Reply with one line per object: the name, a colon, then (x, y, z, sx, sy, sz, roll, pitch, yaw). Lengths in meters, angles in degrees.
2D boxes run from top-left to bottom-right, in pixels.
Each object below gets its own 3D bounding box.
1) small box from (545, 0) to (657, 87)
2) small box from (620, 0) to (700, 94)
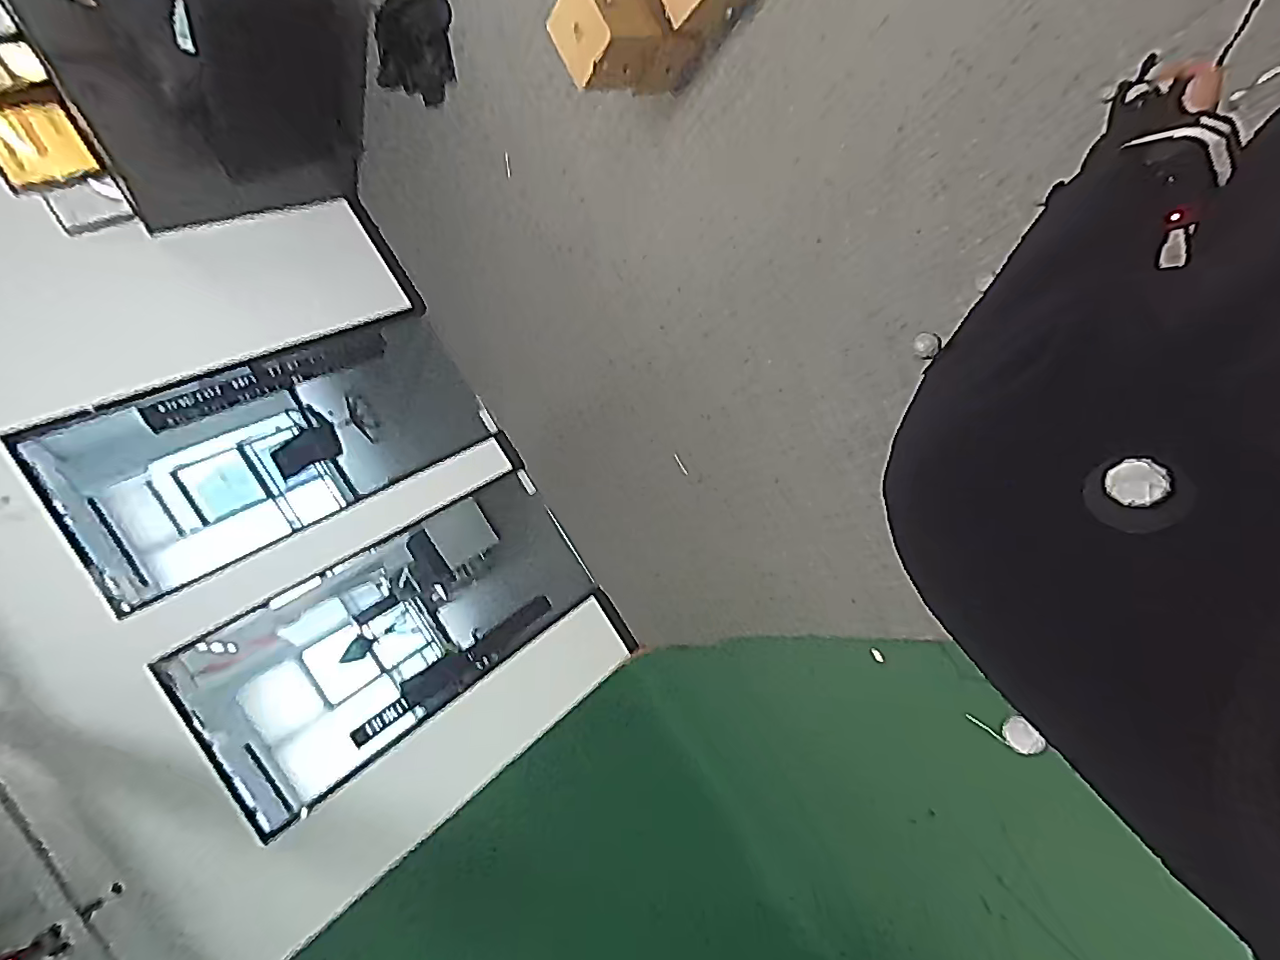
small box: (-0.093, -1.090, 1.301, 0.168, 0.176, 0.179, -21, 100, 57)
small box: (0.023, -1.150, 1.399, 0.168, 0.176, 0.179, -21, 101, 57)
